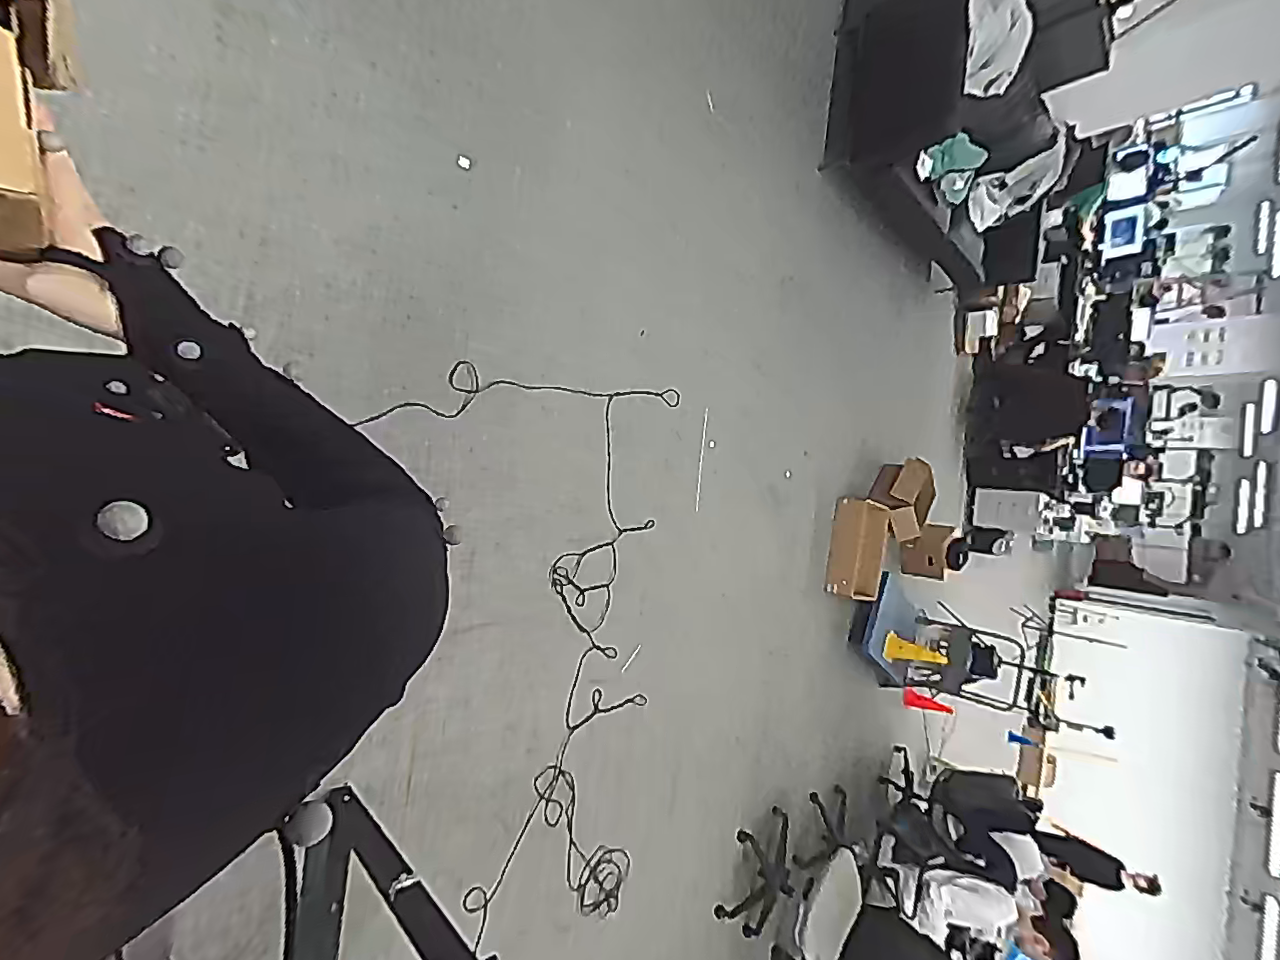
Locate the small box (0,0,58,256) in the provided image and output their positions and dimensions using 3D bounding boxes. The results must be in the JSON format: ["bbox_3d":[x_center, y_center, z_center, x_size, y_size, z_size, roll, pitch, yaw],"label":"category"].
[{"bbox_3d":[-0.413,-0.221,0.257,0.179,0.176,0.168,-8,98,-48],"label":"small box"}]
